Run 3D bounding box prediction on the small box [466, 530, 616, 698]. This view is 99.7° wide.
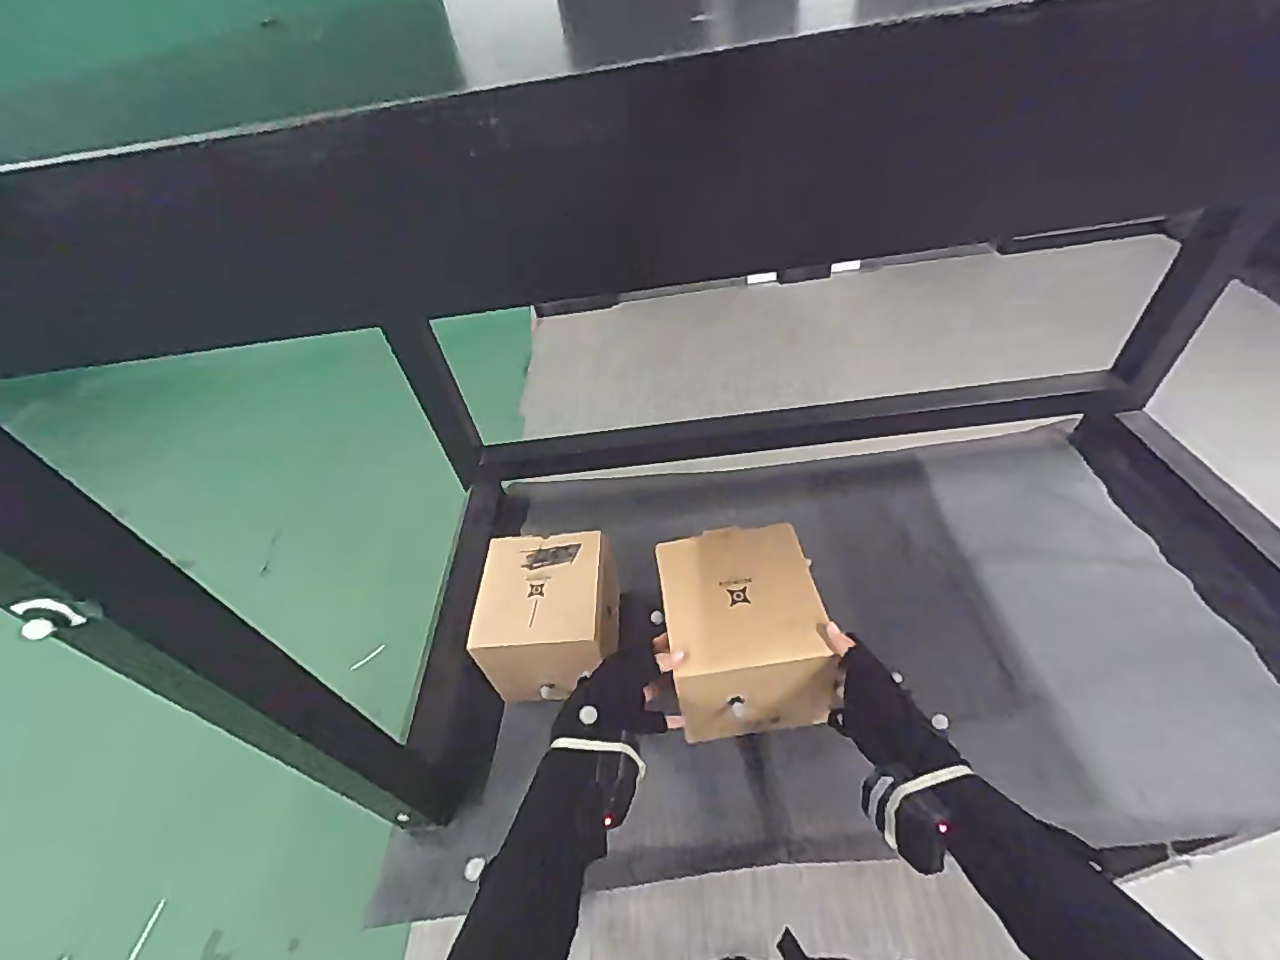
[{"bbox_3d":[-0.129,0.194,0.785,0.168,0.176,0.179,-5,46,5],"label":"small box"}]

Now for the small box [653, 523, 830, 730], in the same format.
[{"bbox_3d":[0.113,0.180,0.645,0.168,0.176,0.179,-9,42,2],"label":"small box"}]
